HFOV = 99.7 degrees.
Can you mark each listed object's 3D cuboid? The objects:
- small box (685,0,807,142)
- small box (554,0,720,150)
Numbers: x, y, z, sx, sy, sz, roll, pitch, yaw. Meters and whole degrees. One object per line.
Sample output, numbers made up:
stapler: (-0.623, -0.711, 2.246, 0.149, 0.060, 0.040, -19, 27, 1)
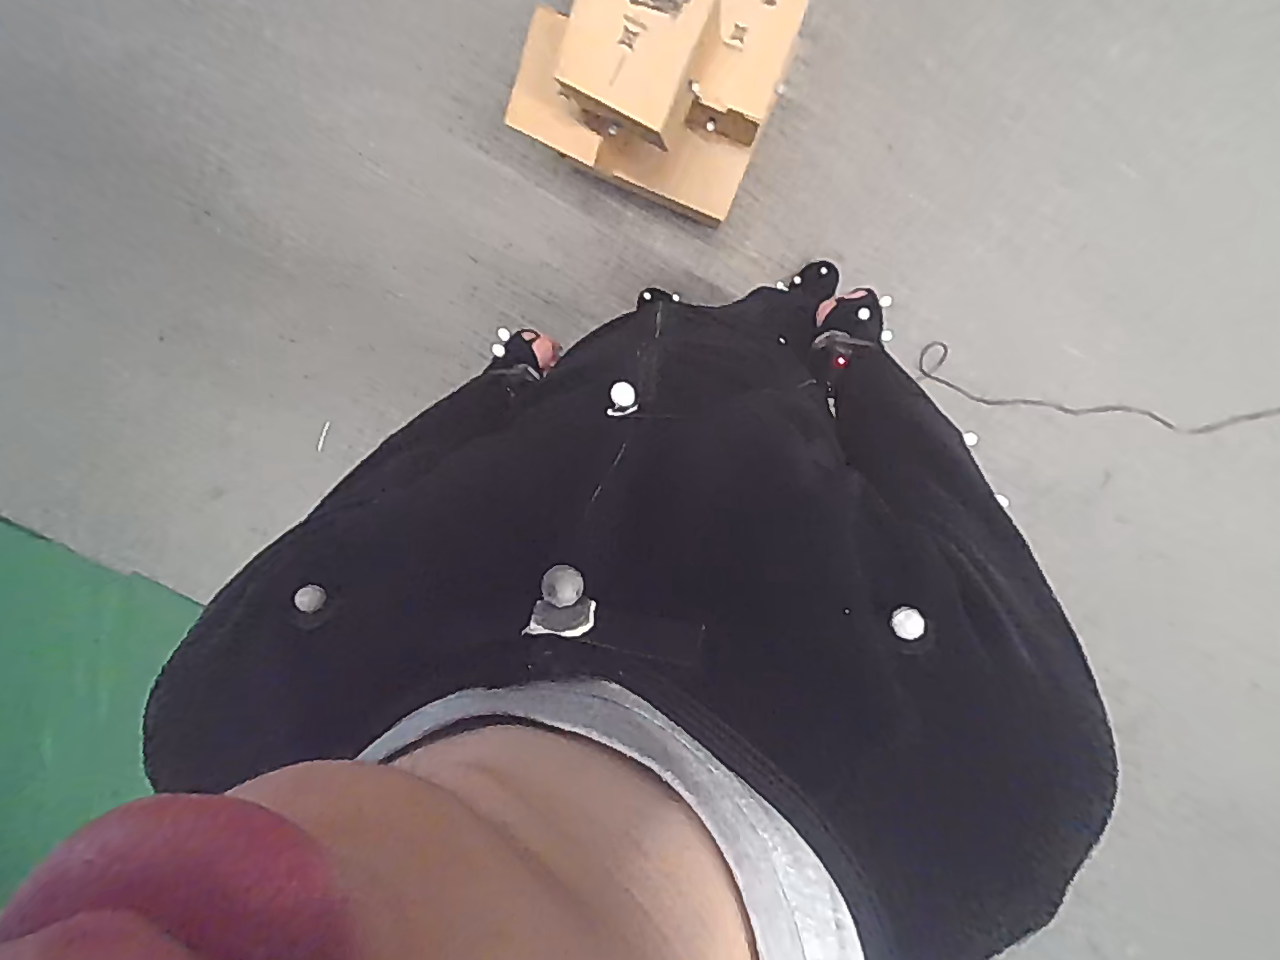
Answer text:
small box: (0.153, -0.693, 0.895, 0.168, 0.176, 0.179, 21, 112, -1)
small box: (0.001, -0.608, 0.770, 0.168, 0.176, 0.179, 27, 114, -3)
